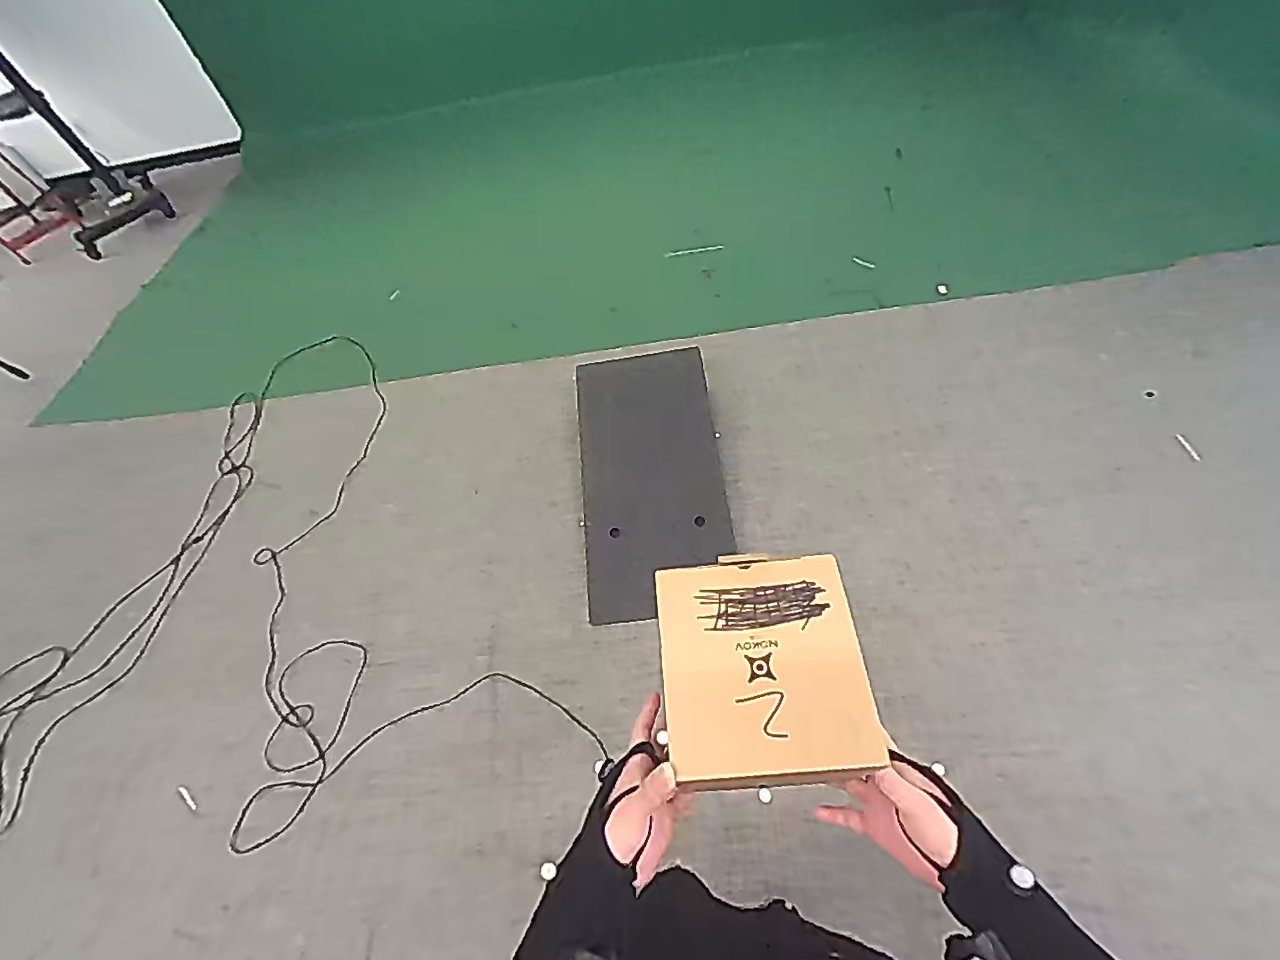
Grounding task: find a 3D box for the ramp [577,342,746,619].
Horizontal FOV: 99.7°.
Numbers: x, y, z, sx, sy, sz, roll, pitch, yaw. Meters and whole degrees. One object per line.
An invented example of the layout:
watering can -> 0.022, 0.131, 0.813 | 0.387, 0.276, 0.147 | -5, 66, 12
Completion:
ramp -> 0.043, -0.046, 1.880 | 0.509, 0.206, 0.991 | -9, 55, 2
